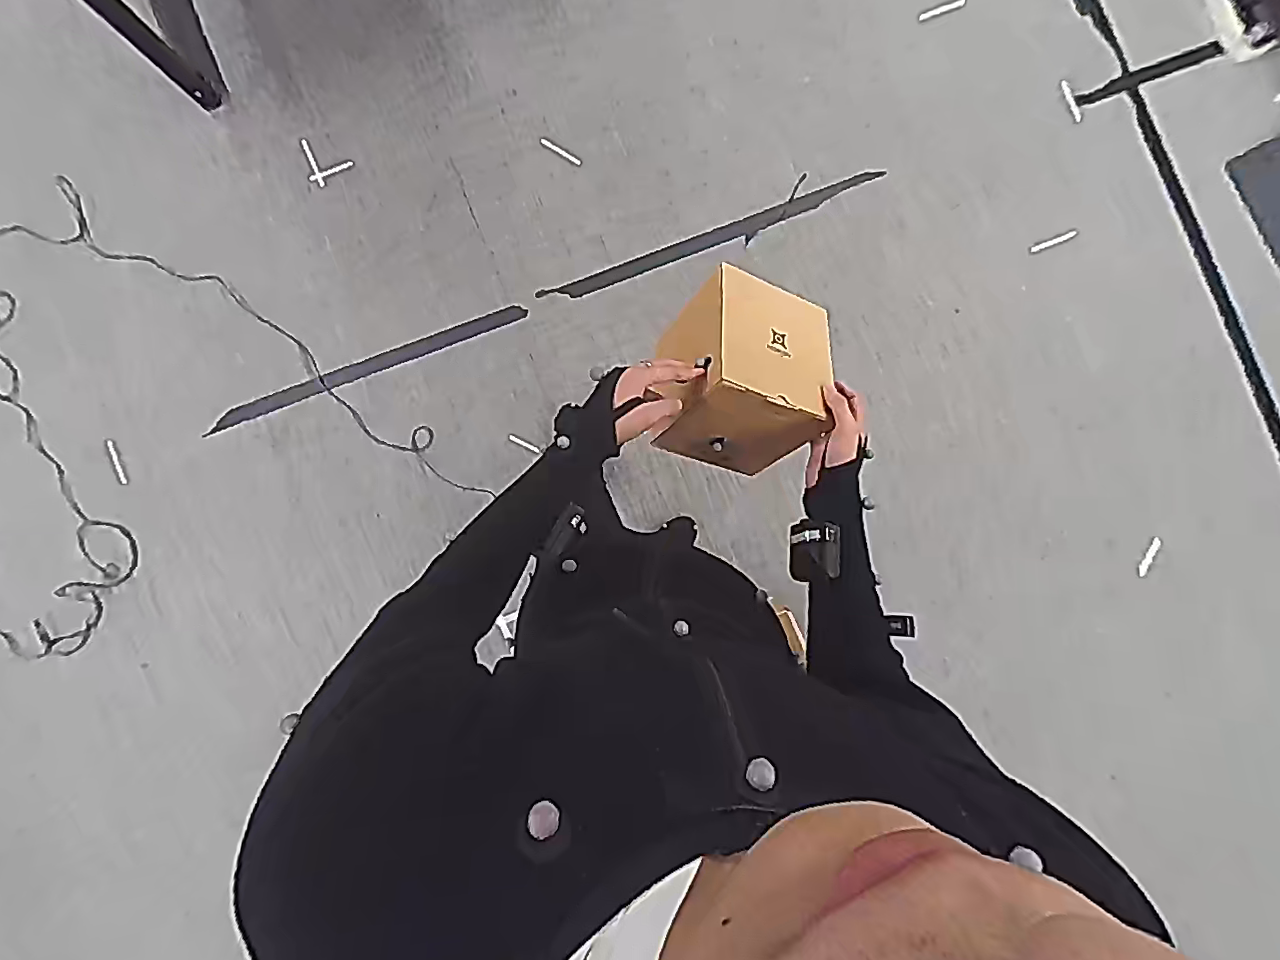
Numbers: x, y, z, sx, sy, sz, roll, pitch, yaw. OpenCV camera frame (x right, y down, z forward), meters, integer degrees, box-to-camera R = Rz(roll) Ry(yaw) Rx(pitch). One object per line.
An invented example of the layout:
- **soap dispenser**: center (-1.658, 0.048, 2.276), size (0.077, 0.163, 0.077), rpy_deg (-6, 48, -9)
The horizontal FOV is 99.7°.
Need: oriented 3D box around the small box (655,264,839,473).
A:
- **small box**: center (0.128, -0.132, 0.701), size (0.168, 0.176, 0.179), rpy_deg (14, 63, -22)
